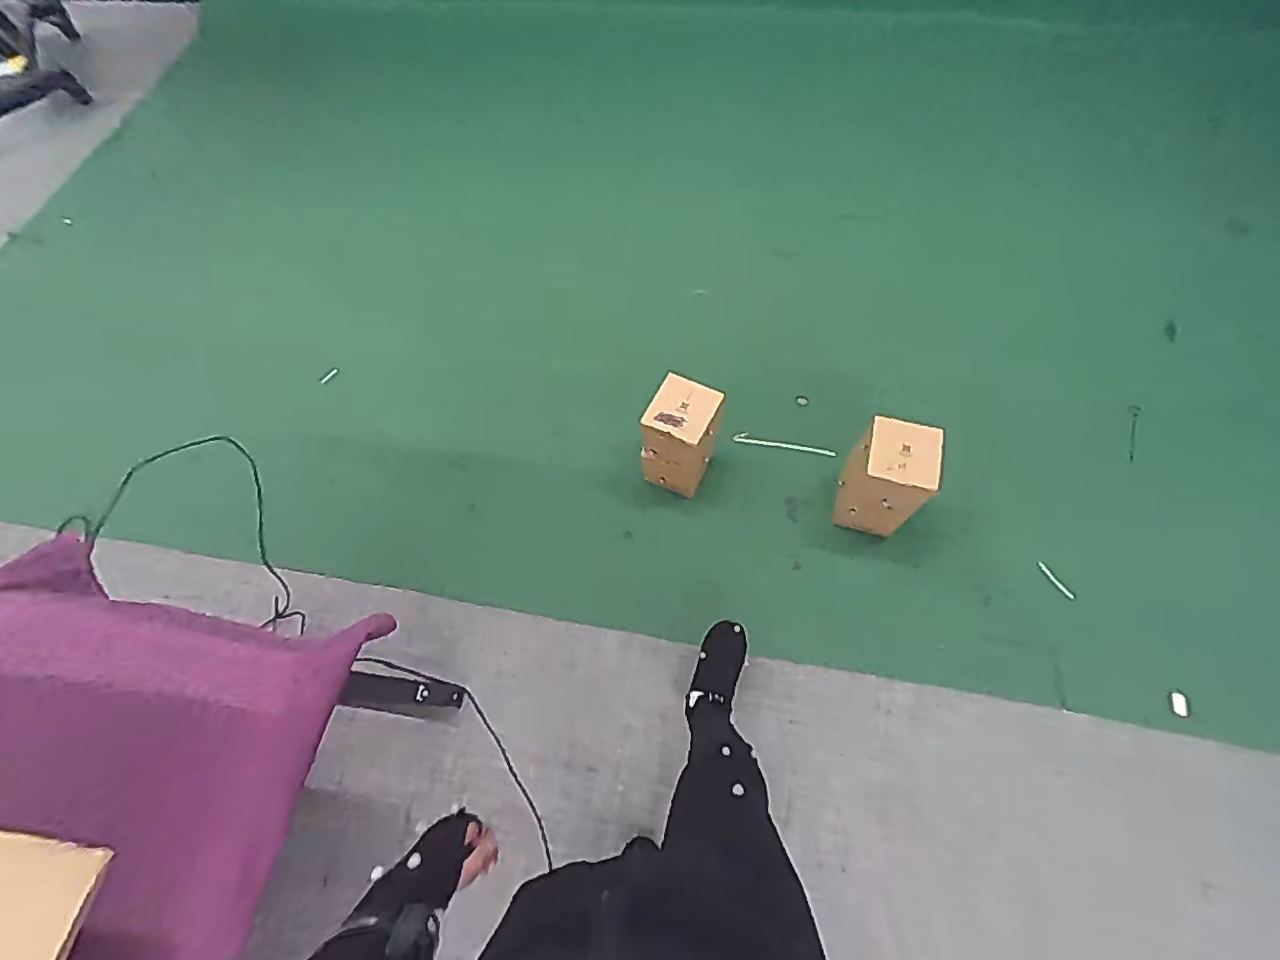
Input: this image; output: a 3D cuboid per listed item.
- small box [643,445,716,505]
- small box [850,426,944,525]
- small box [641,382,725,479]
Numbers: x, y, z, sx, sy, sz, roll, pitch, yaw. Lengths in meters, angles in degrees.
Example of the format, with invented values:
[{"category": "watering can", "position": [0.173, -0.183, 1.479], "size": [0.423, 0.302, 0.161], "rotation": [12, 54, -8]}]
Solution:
[{"category": "small box", "position": [0.119, -0.054, 1.630], "size": [0.168, 0.176, 0.179], "rotation": [22, 69, 14]}, {"category": "small box", "position": [0.653, -0.008, 1.386], "size": [0.168, 0.176, 0.179], "rotation": [15, 66, 10]}, {"category": "small box", "position": [0.119, -0.129, 1.483], "size": [0.168, 0.176, 0.179], "rotation": [25, 69, 14]}]
